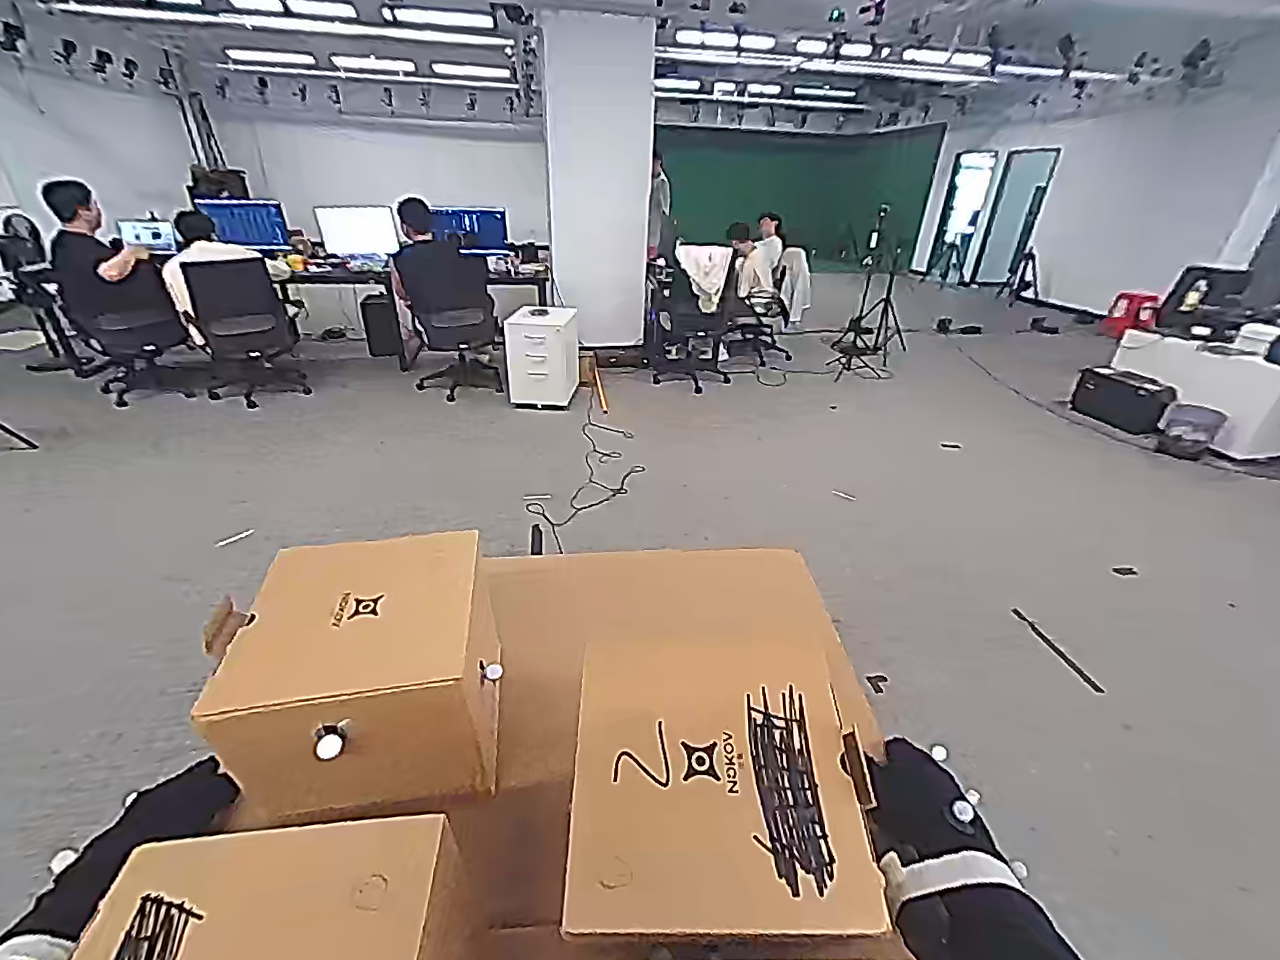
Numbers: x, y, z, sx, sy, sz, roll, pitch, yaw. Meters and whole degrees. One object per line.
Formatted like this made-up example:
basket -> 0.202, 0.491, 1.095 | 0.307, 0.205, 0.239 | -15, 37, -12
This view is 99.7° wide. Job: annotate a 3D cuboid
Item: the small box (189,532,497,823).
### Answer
small box -> -0.227, 0.169, 0.478 | 0.179, 0.176, 0.168 | -6, 35, -8
